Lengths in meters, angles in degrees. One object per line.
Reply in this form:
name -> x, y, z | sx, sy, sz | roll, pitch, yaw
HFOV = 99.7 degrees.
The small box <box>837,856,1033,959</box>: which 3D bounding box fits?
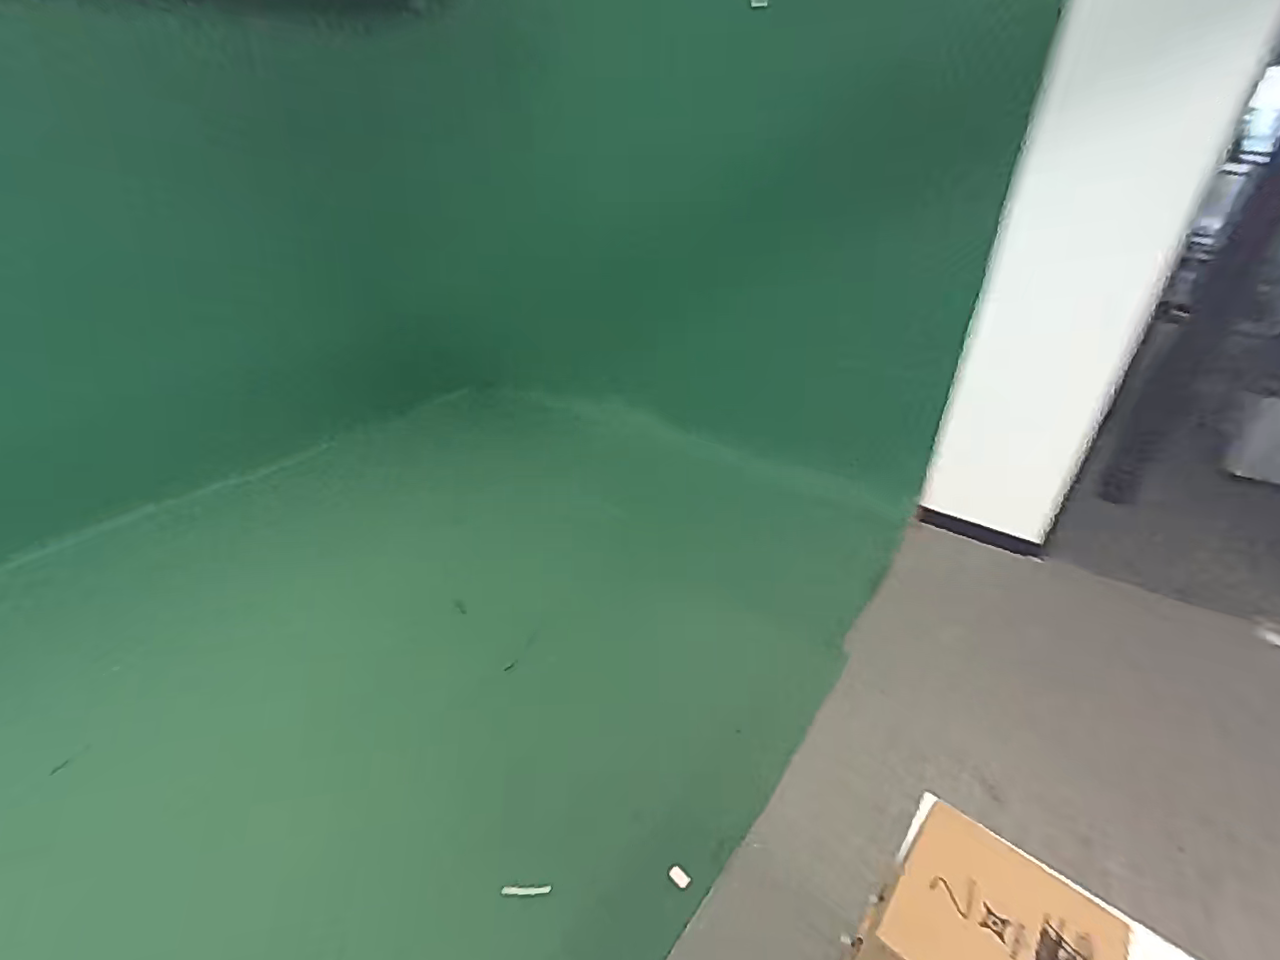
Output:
small box -> 0.333, 0.613, 0.643 | 0.179, 0.176, 0.168 | 27, 43, 34
